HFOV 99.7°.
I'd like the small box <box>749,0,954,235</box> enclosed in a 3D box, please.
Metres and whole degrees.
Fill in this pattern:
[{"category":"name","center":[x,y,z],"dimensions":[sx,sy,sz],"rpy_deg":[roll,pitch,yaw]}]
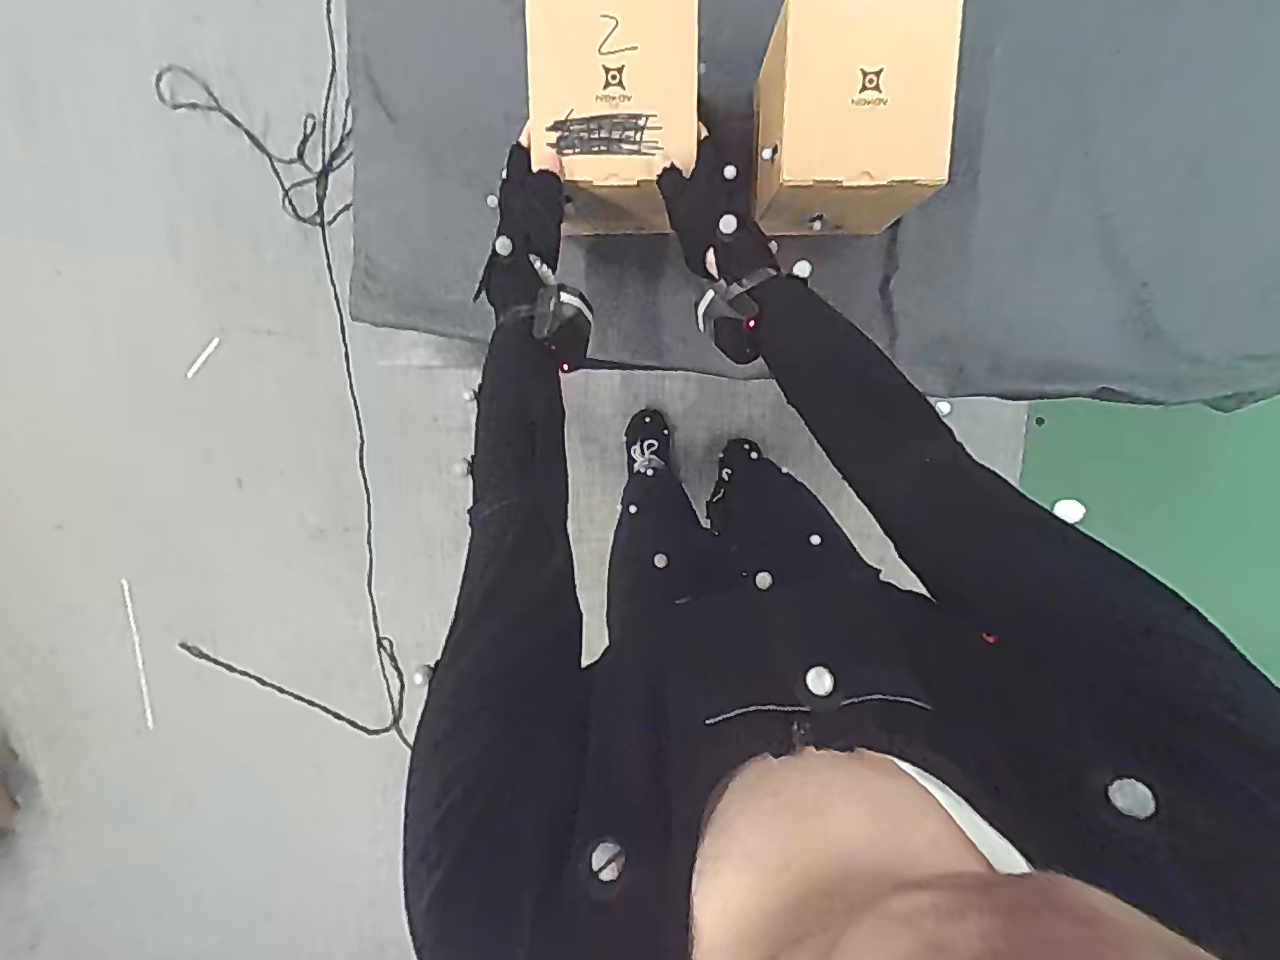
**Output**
[{"category":"small box","center":[0.222,-0.395,0.613],"dimensions":[0.168,0.176,0.179],"rpy_deg":[0,100,1]}]
